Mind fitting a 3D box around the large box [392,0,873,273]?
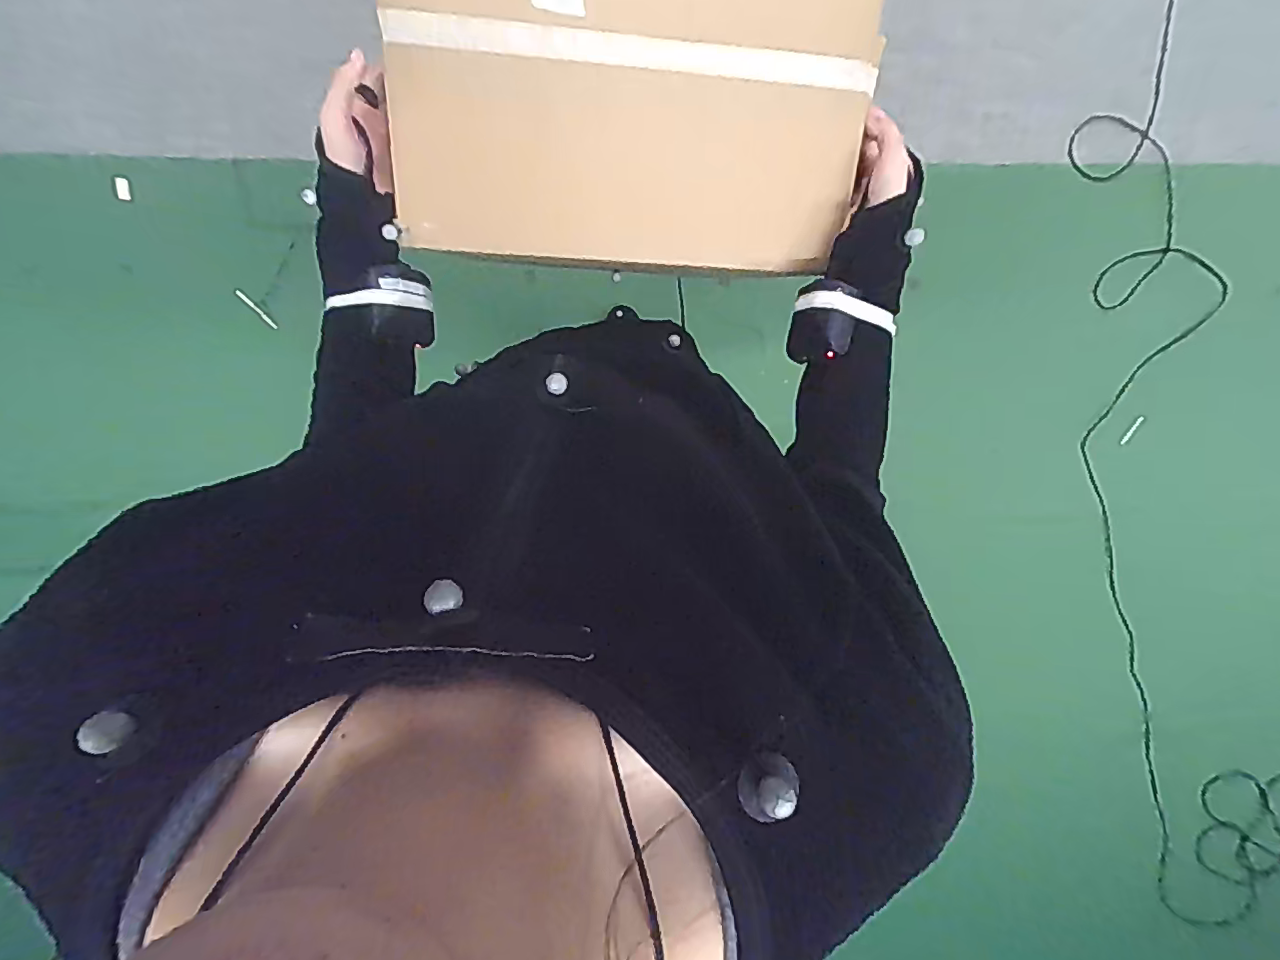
[{"bbox_3d":[-0.016,-0.407,0.597,0.408,0.320,0.320,1,110,-7],"label":"large box"}]
